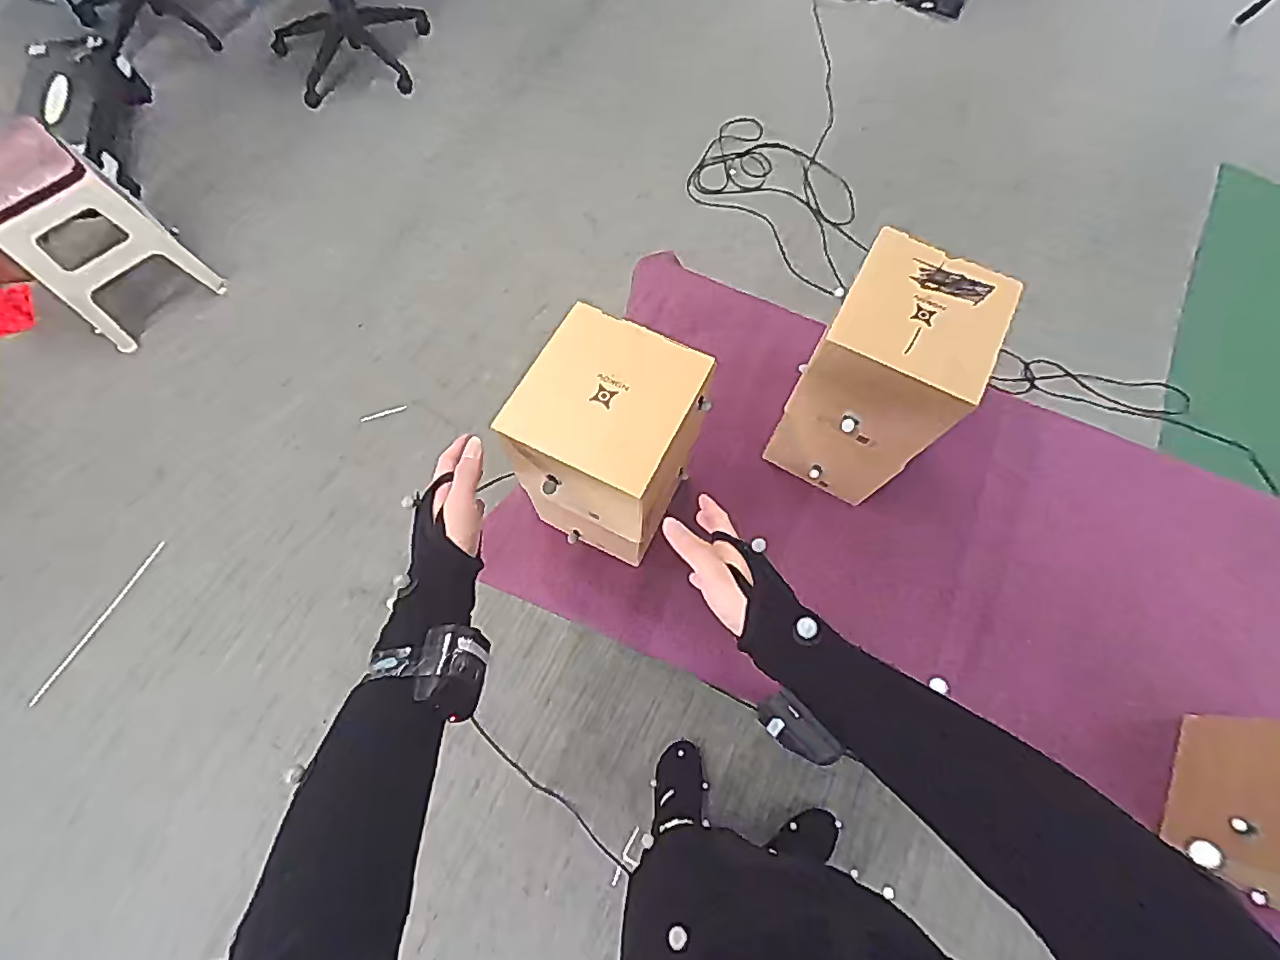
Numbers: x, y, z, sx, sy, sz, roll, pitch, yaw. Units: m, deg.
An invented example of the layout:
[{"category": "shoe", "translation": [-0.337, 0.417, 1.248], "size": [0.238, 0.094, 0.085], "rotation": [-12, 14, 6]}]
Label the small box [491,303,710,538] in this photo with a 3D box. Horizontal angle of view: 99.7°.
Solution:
[{"category": "small box", "translation": [-0.036, -0.057, 0.612], "size": [0.168, 0.176, 0.179], "rotation": [25, 69, 9]}]

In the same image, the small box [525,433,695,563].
[{"category": "small box", "translation": [-0.039, -0.006, 0.766], "size": [0.168, 0.176, 0.179], "rotation": [25, 71, 9]}]

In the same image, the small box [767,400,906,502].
[{"category": "small box", "translation": [0.308, -0.096, 0.803], "size": [0.168, 0.176, 0.179], "rotation": [30, 73, 10]}]

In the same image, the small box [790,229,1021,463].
[{"category": "small box", "translation": [0.301, -0.151, 0.648], "size": [0.168, 0.176, 0.179], "rotation": [28, 73, 10]}]
